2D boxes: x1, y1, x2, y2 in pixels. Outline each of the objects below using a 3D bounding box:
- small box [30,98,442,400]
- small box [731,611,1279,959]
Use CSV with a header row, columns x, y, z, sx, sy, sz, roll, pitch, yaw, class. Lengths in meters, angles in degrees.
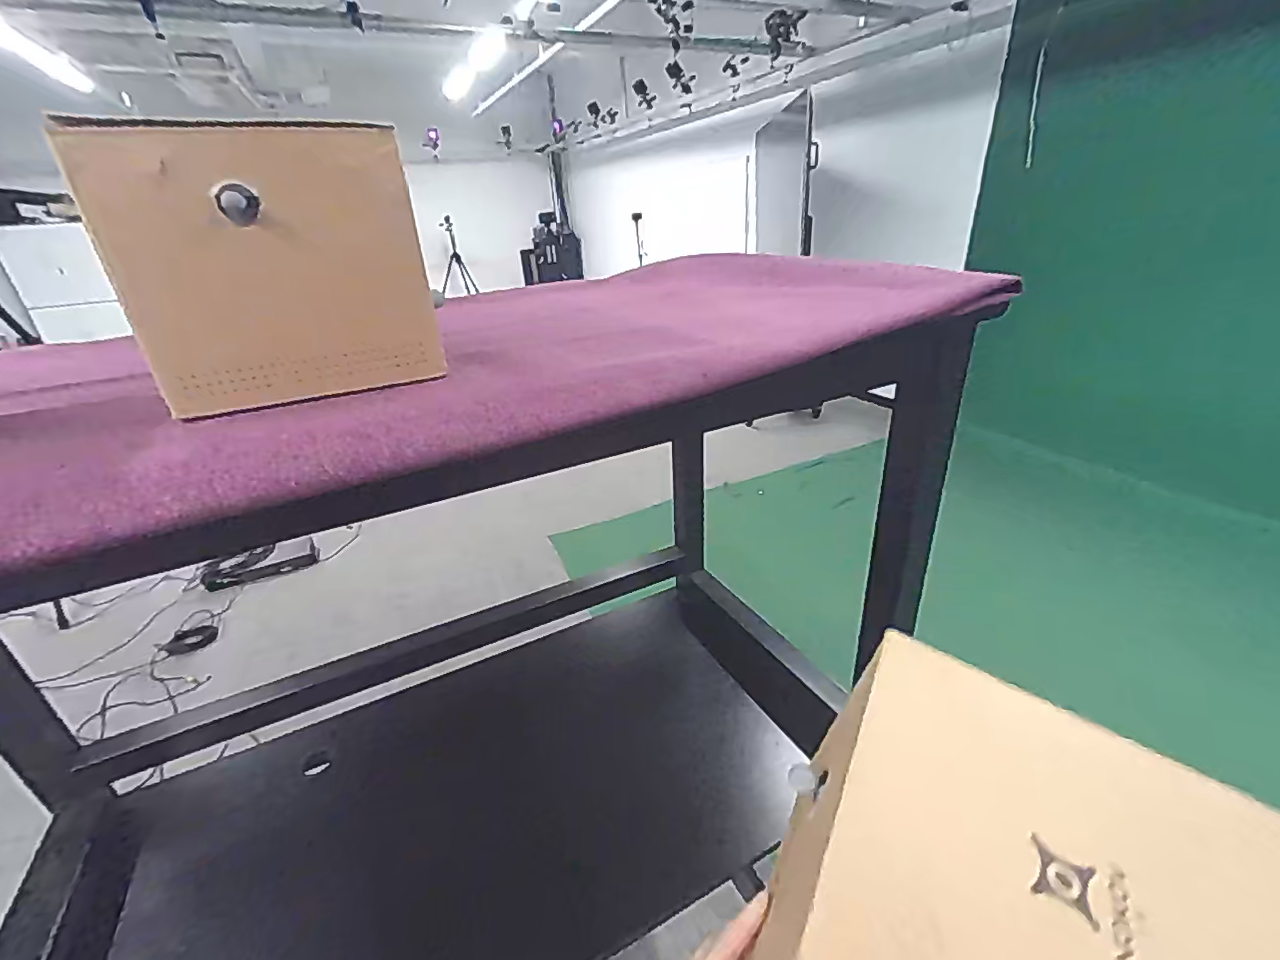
x,y,z,sx,sy,sz,roll,pitch,yaw,class
-0.266,-0.167,0.408,0.179,0.176,0.168,-15,27,-22,small box
0.154,0.202,0.246,0.179,0.176,0.168,24,42,20,small box
